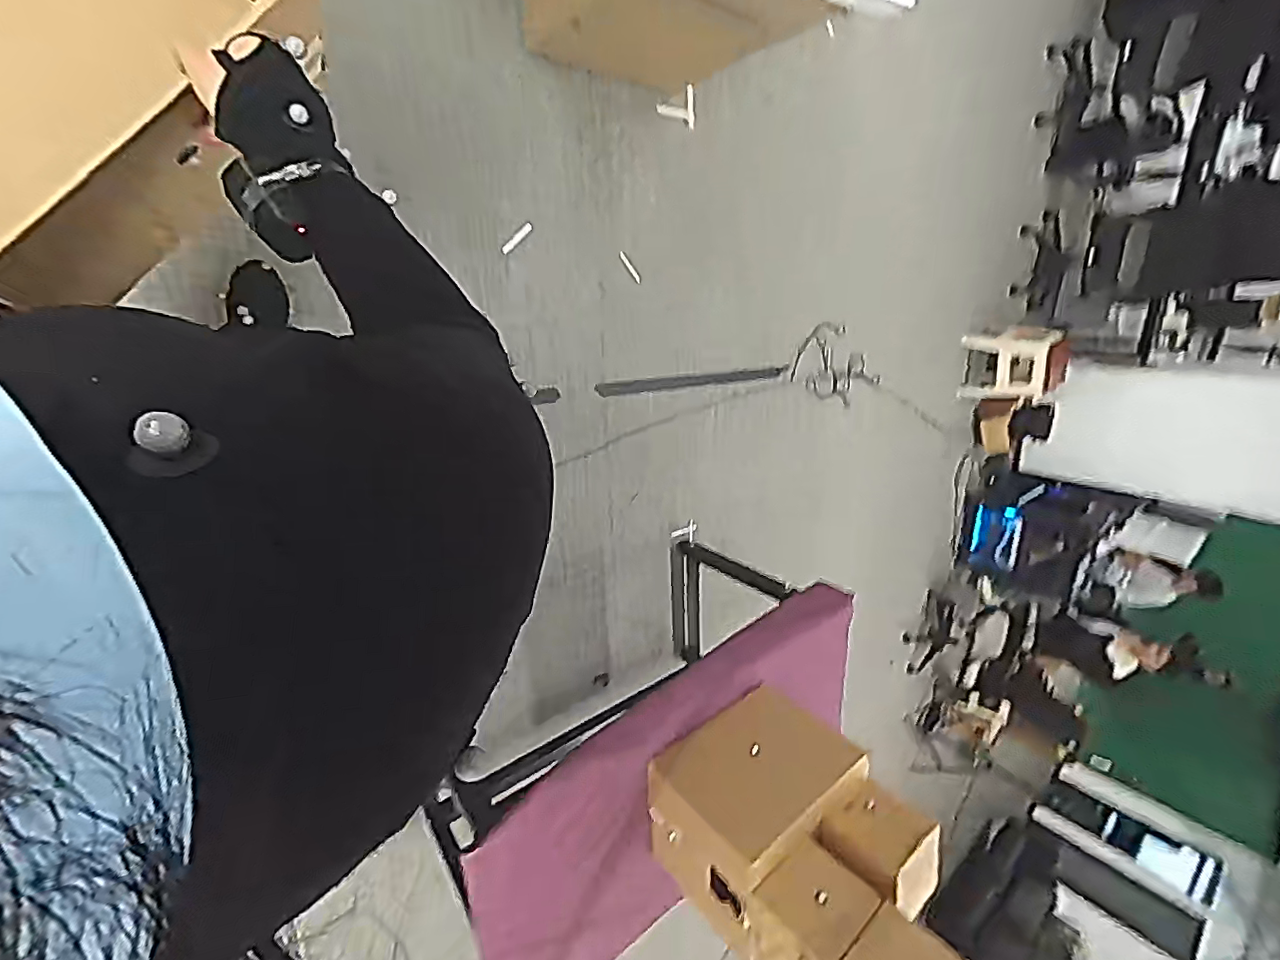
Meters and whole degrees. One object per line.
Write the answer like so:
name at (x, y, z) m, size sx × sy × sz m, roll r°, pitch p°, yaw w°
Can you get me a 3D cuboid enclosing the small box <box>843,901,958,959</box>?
small box at (0.444, 0.876, 0.910) m, size 0.179 × 0.176 × 0.168 m, roll -16°, pitch 113°, yaw -36°
